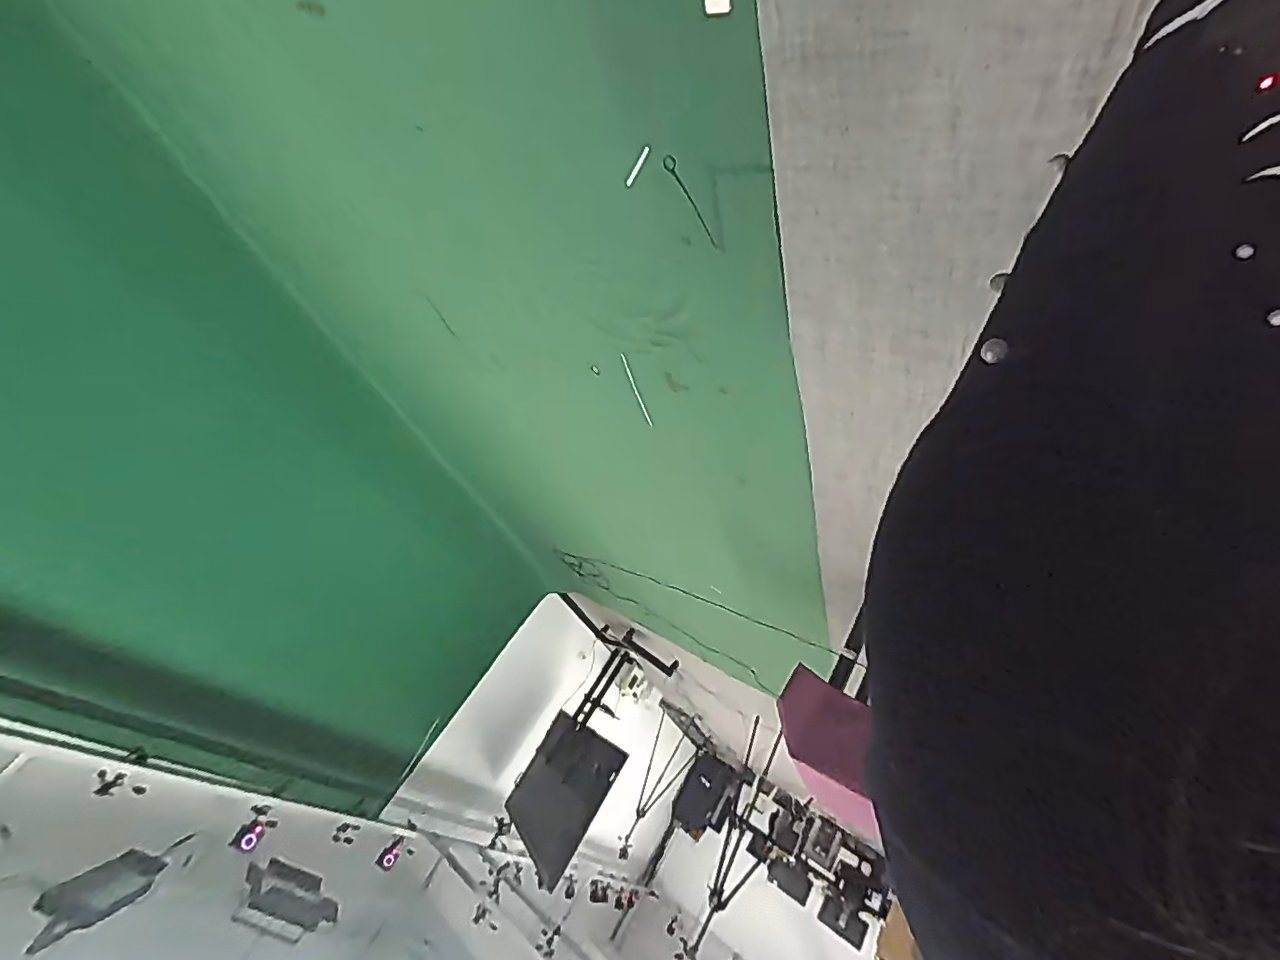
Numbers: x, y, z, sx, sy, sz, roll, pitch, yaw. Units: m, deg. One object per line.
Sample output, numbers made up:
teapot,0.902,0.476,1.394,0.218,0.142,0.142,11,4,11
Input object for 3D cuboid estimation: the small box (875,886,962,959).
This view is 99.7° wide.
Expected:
small box,0.778,1.278,1.517,0.179,0.176,0.168,17,150,35
